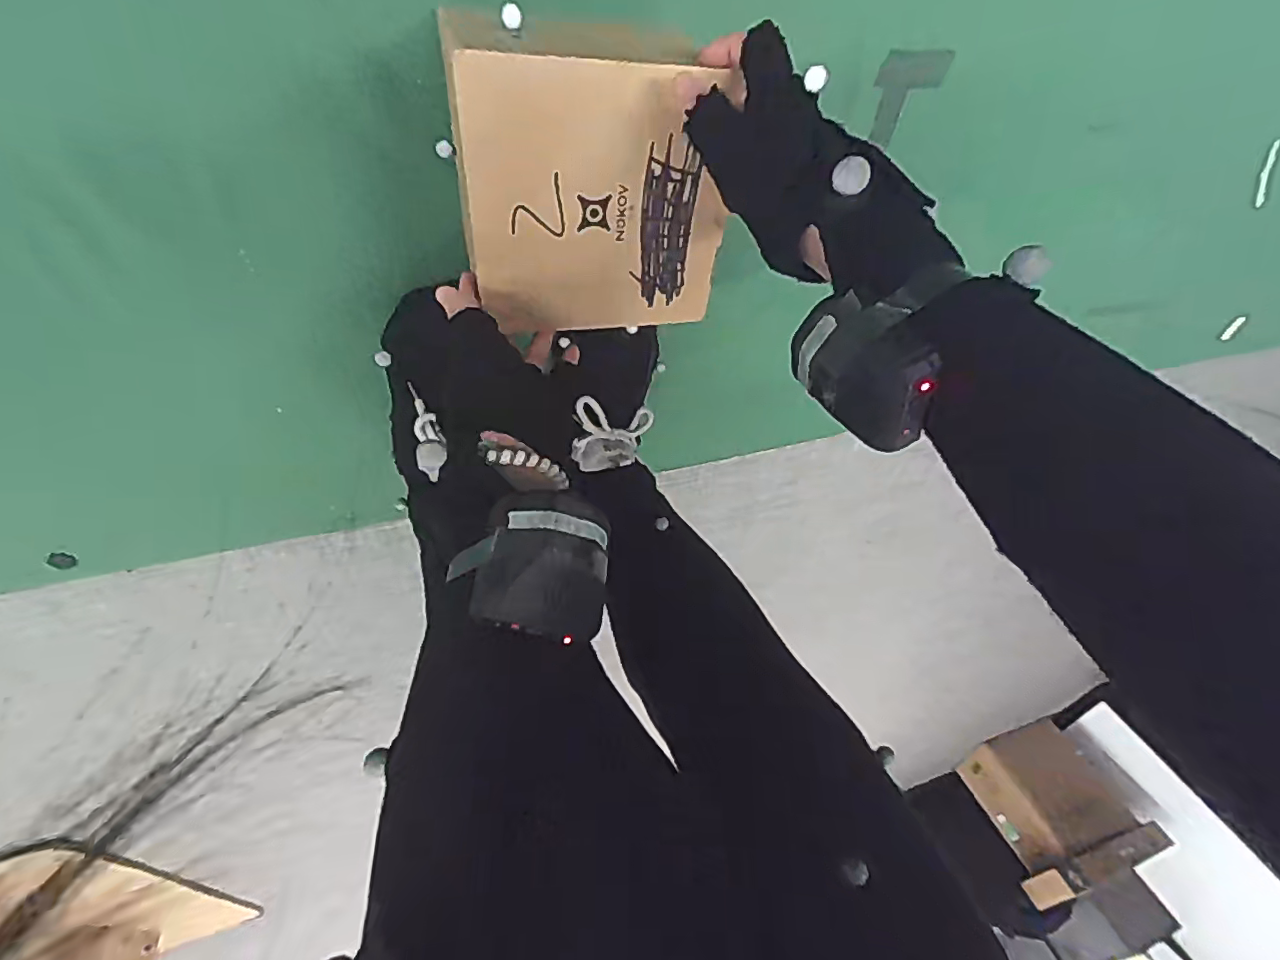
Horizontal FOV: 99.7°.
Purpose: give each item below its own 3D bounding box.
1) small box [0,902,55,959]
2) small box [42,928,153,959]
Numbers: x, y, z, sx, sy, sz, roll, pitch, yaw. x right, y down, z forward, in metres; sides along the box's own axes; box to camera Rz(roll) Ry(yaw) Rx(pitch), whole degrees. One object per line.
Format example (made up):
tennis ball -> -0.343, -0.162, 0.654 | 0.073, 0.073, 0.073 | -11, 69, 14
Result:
small box -> -1.152, 0.843, 0.895 | 0.179, 0.176, 0.168 | -11, 136, -17
small box -> -1.137, 1.042, 1.090 | 0.179, 0.176, 0.168 | -15, 136, -12
